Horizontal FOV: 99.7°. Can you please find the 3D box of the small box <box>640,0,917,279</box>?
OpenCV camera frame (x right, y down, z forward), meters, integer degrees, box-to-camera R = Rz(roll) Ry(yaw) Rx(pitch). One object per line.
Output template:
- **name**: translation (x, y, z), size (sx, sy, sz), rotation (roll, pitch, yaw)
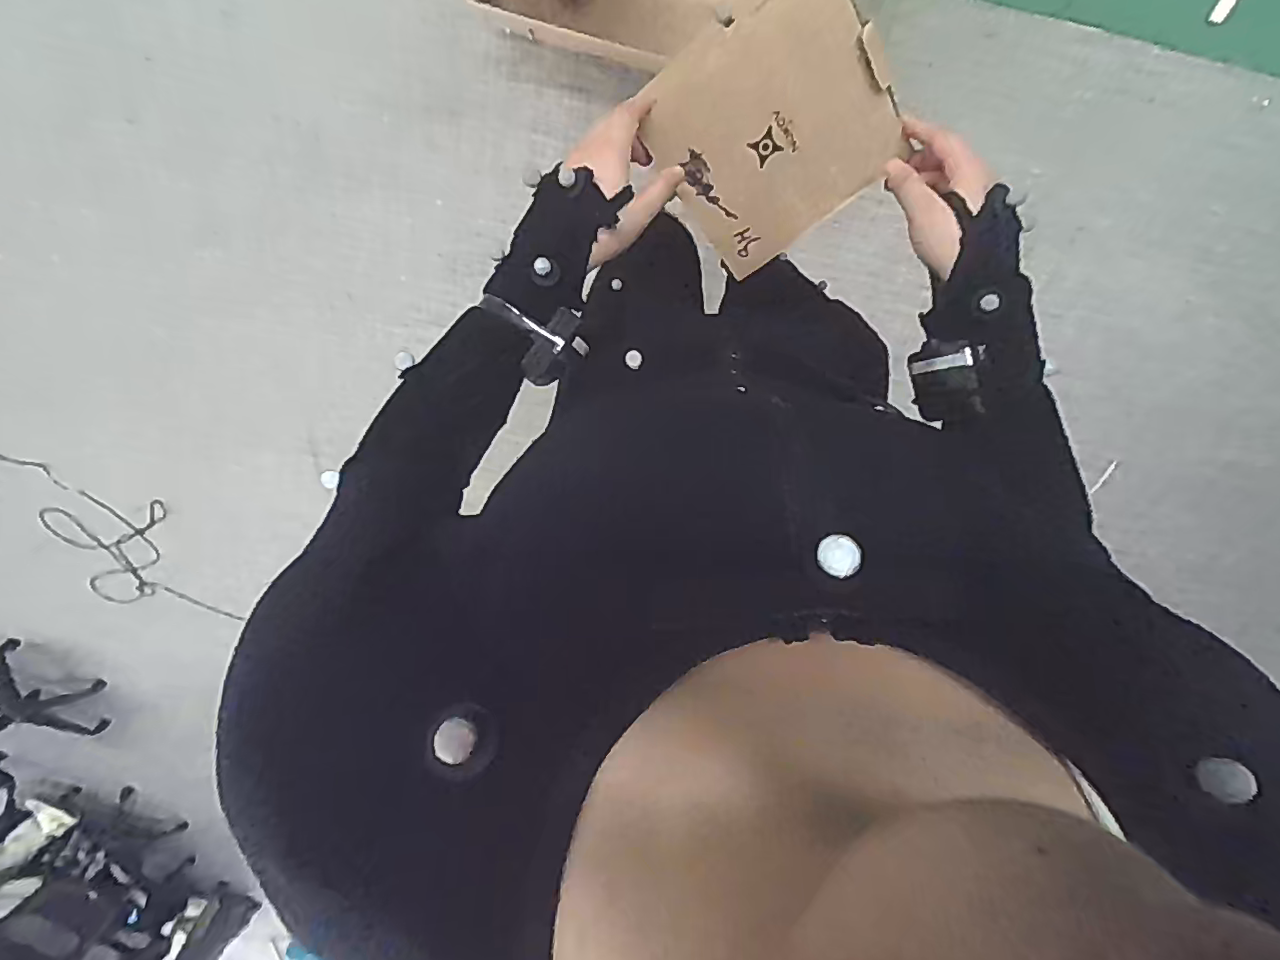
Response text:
- **small box**: translation (0.112, -0.330, 0.499), size (0.179, 0.176, 0.168), rotation (-31, 123, 24)
